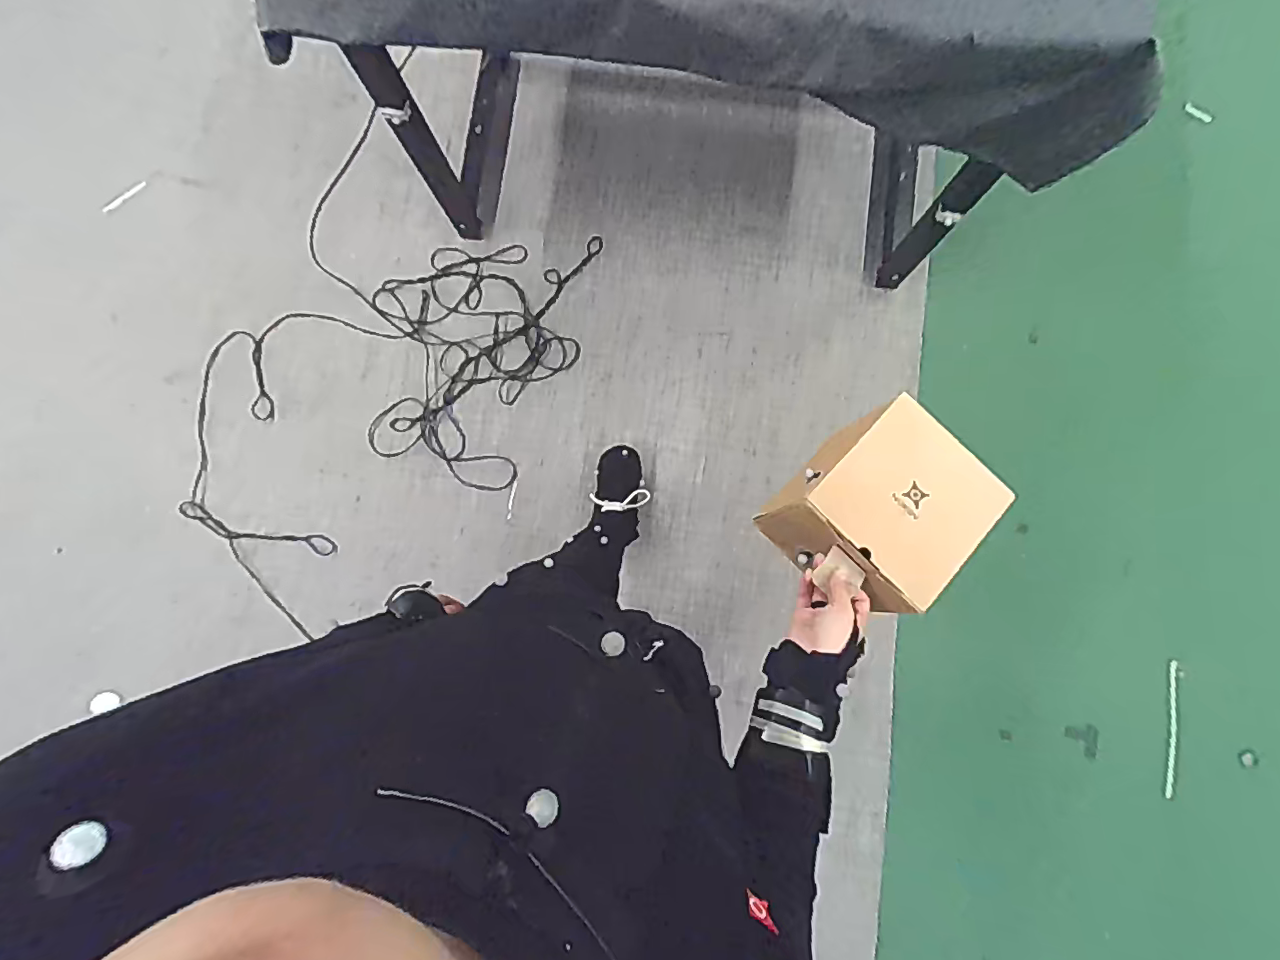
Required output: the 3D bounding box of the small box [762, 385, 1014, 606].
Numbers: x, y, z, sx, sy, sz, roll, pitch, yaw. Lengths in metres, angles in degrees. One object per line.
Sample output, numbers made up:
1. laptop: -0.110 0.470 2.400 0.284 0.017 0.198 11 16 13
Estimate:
1. small box: 0.273 0.026 0.636 0.168 0.176 0.179 45 78 3
